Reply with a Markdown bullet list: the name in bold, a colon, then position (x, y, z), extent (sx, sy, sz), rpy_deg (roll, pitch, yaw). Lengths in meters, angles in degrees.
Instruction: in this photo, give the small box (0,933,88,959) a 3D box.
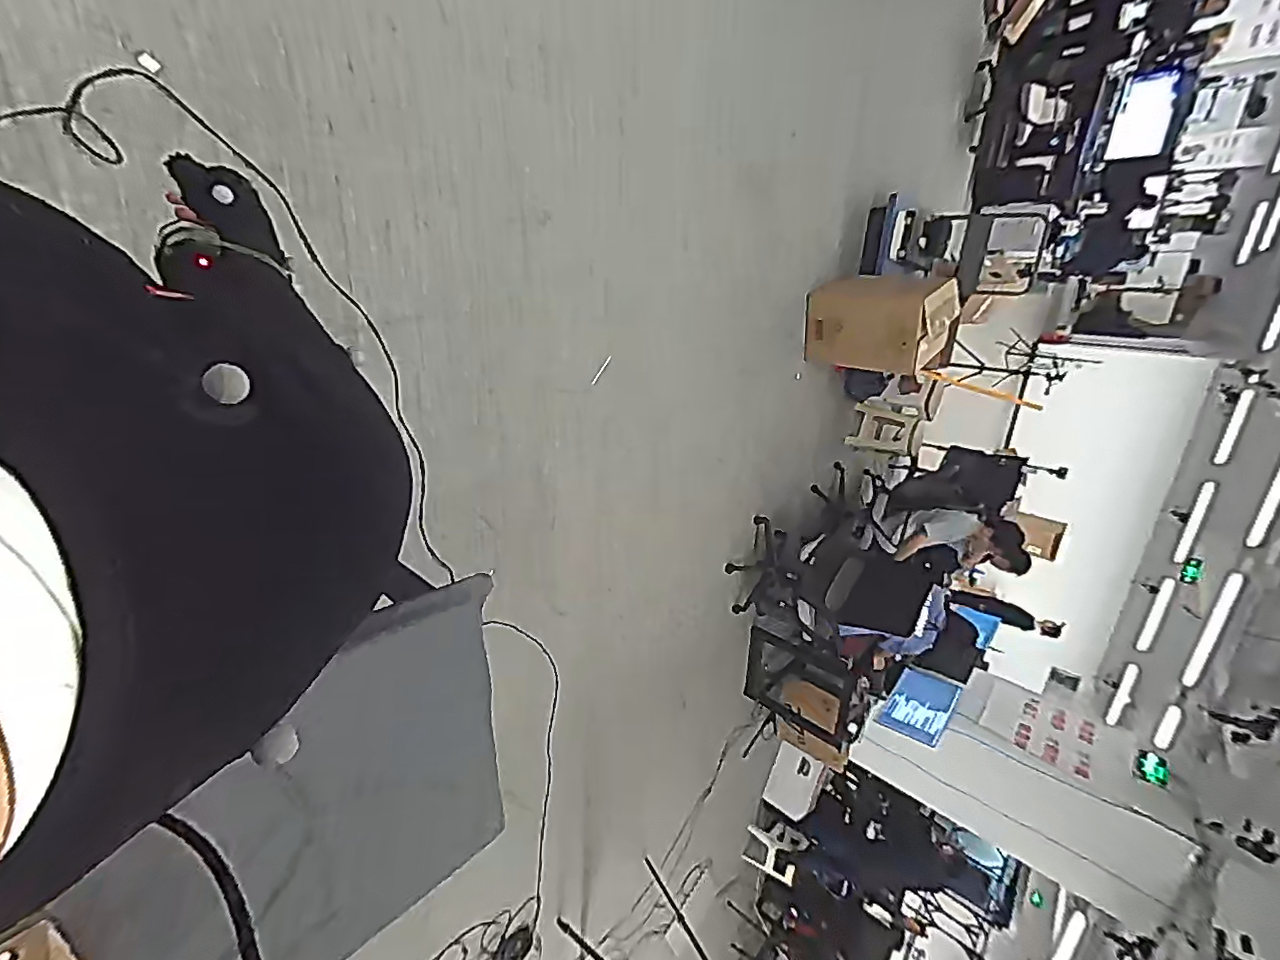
- **small box**: position (-0.674, 0.631, 0.557), extent (0.168, 0.176, 0.179), rpy_deg (-24, 123, -43)
